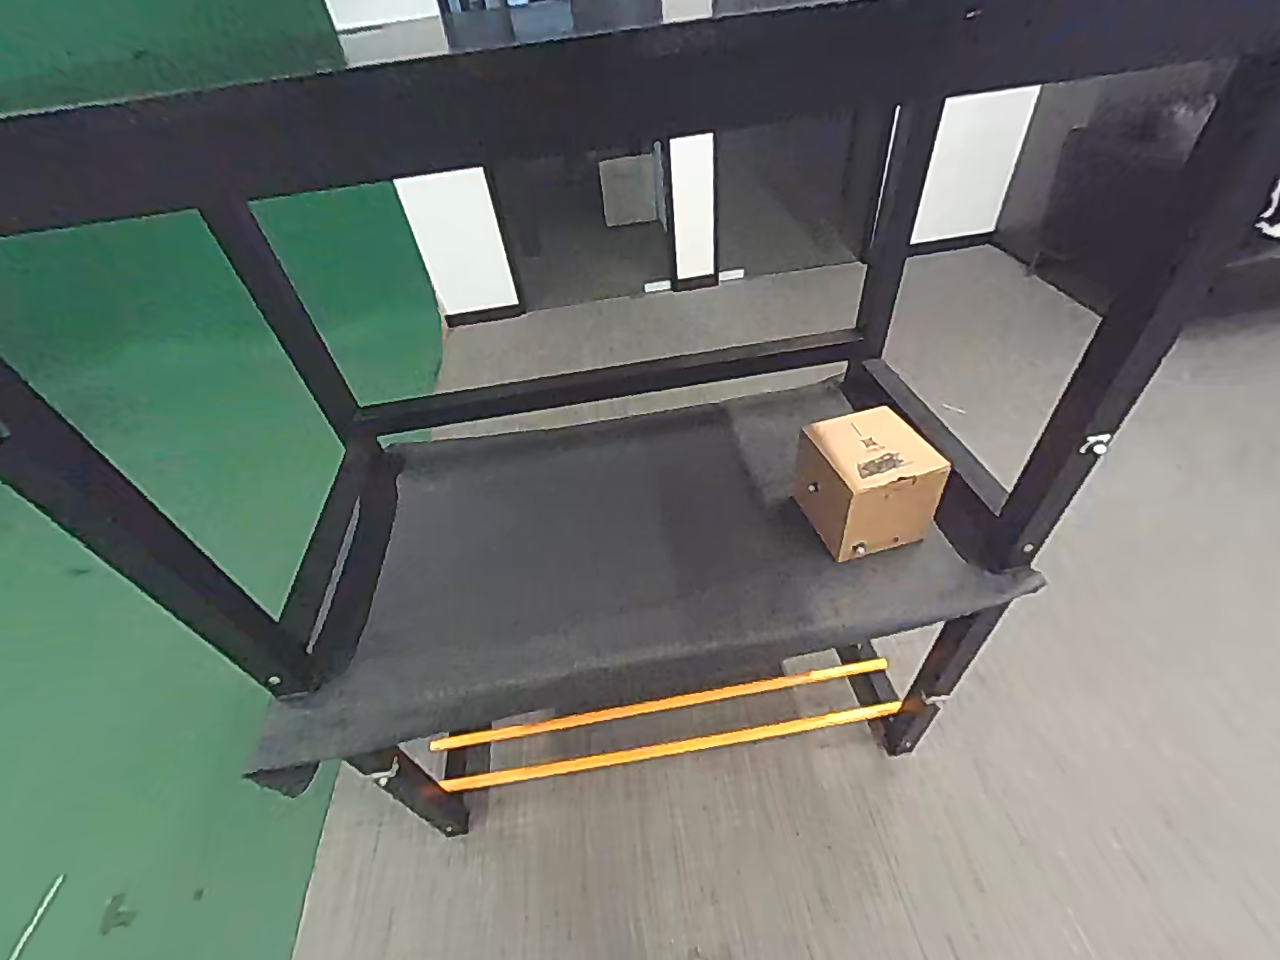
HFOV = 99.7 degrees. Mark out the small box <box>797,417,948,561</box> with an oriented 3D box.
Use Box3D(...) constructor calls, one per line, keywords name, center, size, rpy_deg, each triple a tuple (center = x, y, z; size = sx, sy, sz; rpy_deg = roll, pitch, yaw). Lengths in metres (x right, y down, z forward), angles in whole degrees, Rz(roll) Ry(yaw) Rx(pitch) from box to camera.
Box3D(name="small box", center=(0.387, 0.021, 0.936), size=(0.168, 0.176, 0.179), rpy_deg=(-13, 41, -6))
